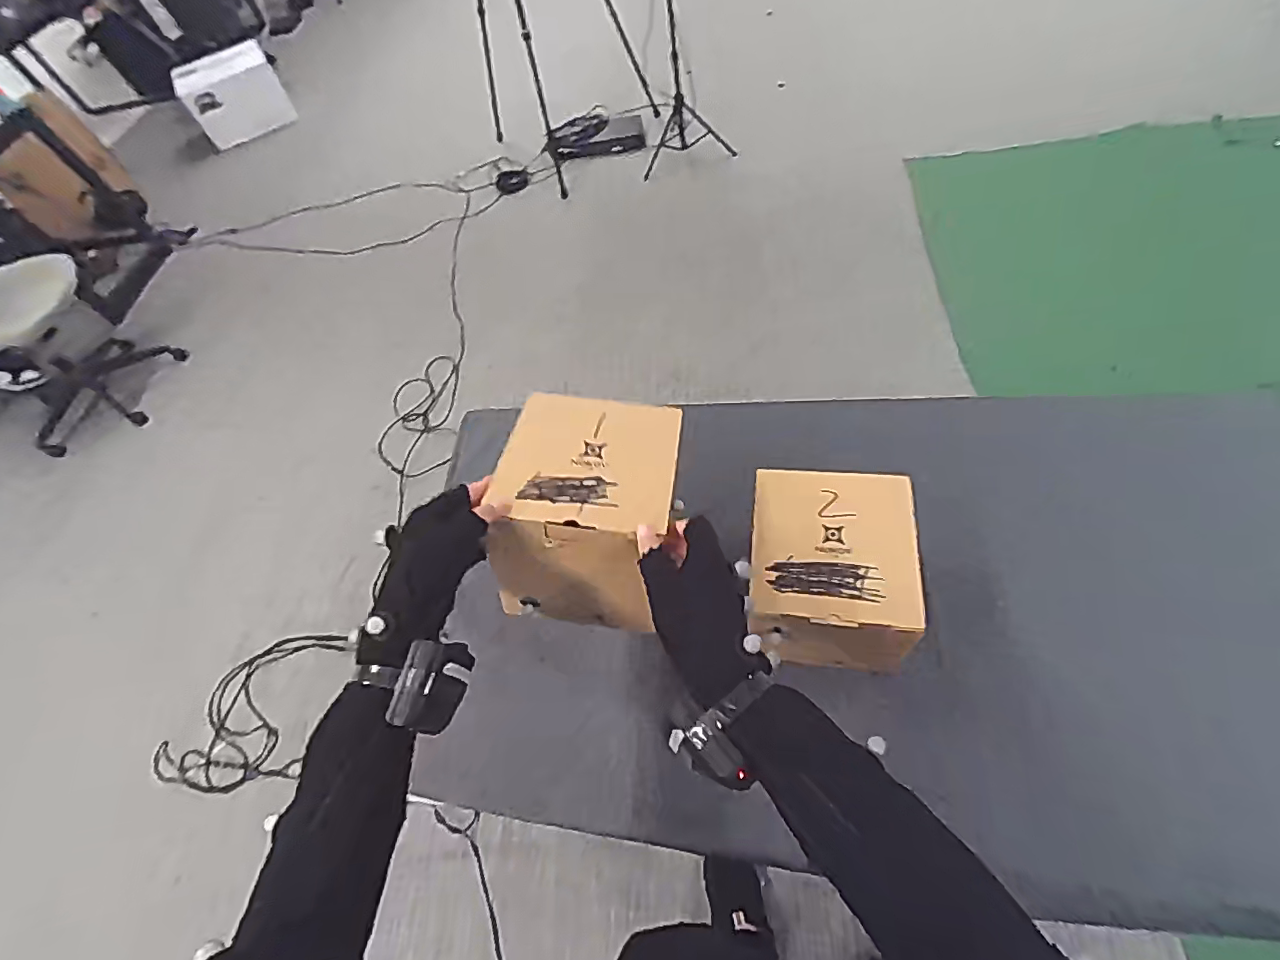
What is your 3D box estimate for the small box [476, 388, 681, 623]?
[{"bbox_3d":[-0.051,0.029,0.570,0.168,0.176,0.179,7,46,4],"label":"small box"}]
